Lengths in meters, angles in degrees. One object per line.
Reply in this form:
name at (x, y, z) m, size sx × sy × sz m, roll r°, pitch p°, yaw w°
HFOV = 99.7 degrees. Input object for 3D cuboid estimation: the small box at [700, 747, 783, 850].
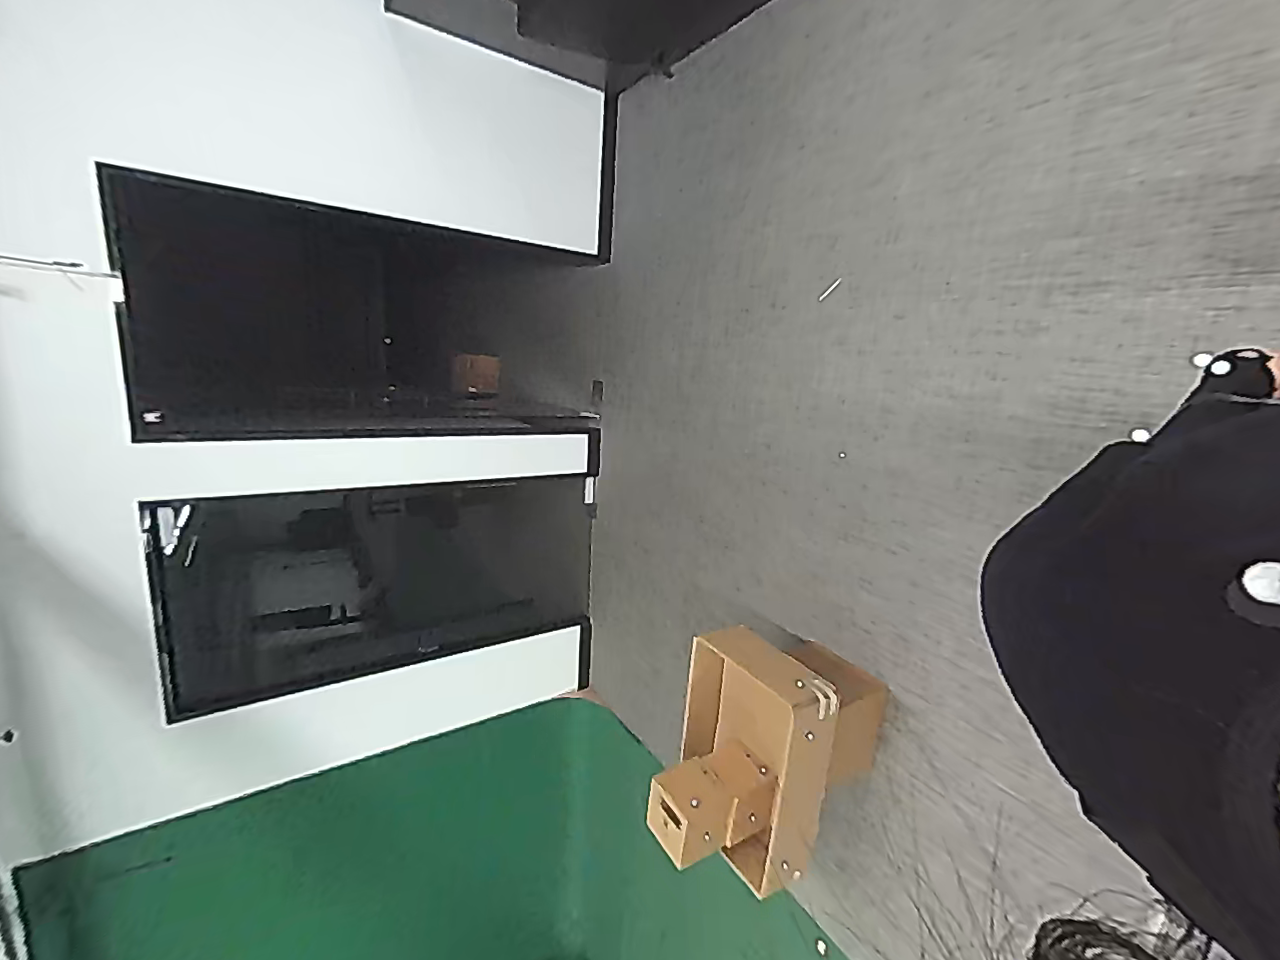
small box at (0.302, 0.932, 1.602) m, size 0.168 × 0.176 × 0.179 m, roll 25°, pitch 114°, yaw 54°
